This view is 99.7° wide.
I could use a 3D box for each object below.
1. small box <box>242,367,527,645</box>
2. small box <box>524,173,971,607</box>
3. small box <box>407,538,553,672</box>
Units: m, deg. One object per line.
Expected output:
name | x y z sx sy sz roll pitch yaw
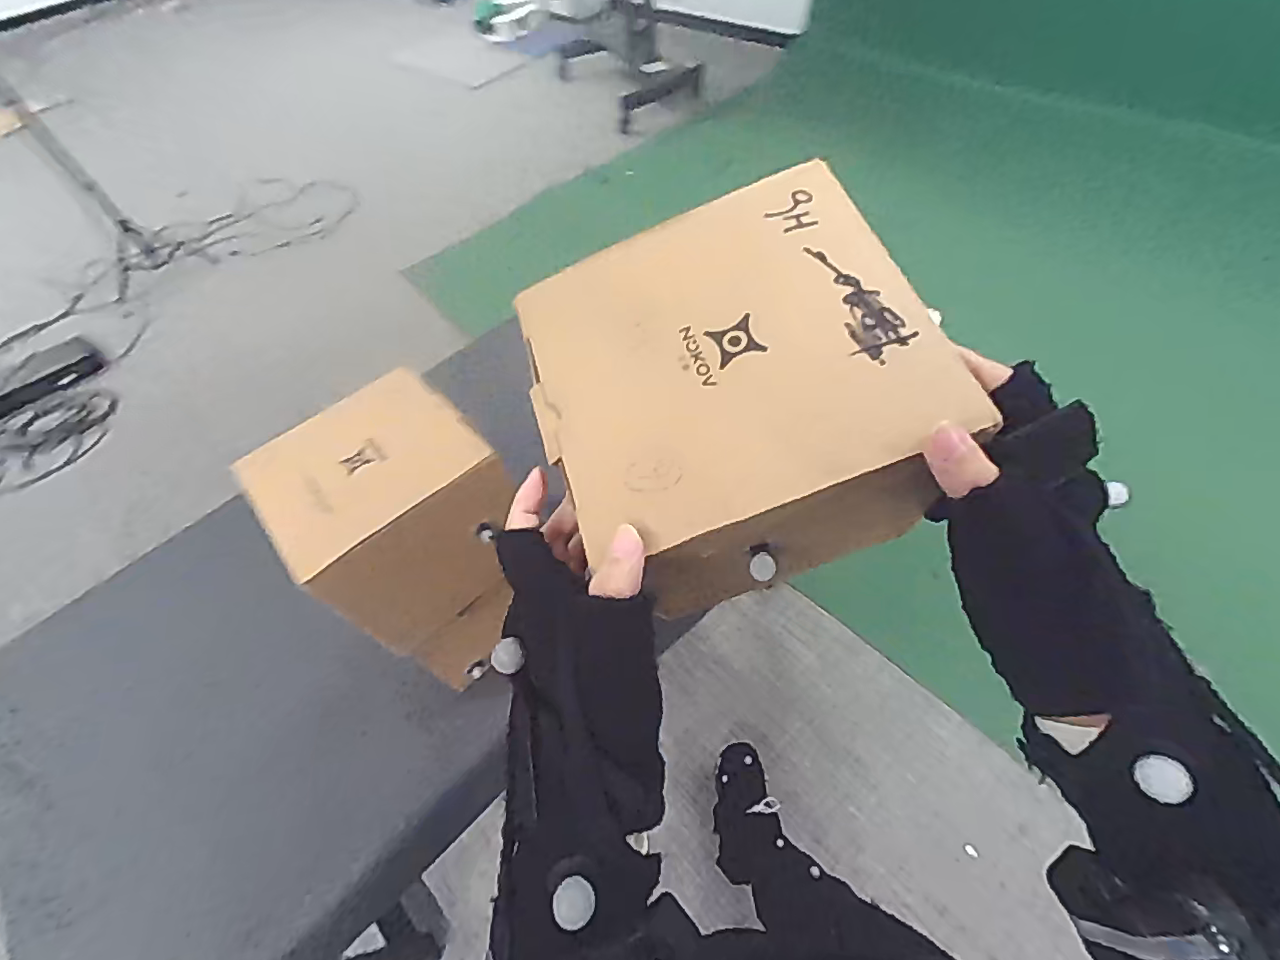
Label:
small box | -0.233 0.028 0.539 0.179 0.176 0.168 -40 59 -19
small box | 0.056 -0.035 0.336 0.179 0.176 0.168 -23 64 5
small box | -0.233 0.116 0.676 0.179 0.176 0.168 35 66 25
